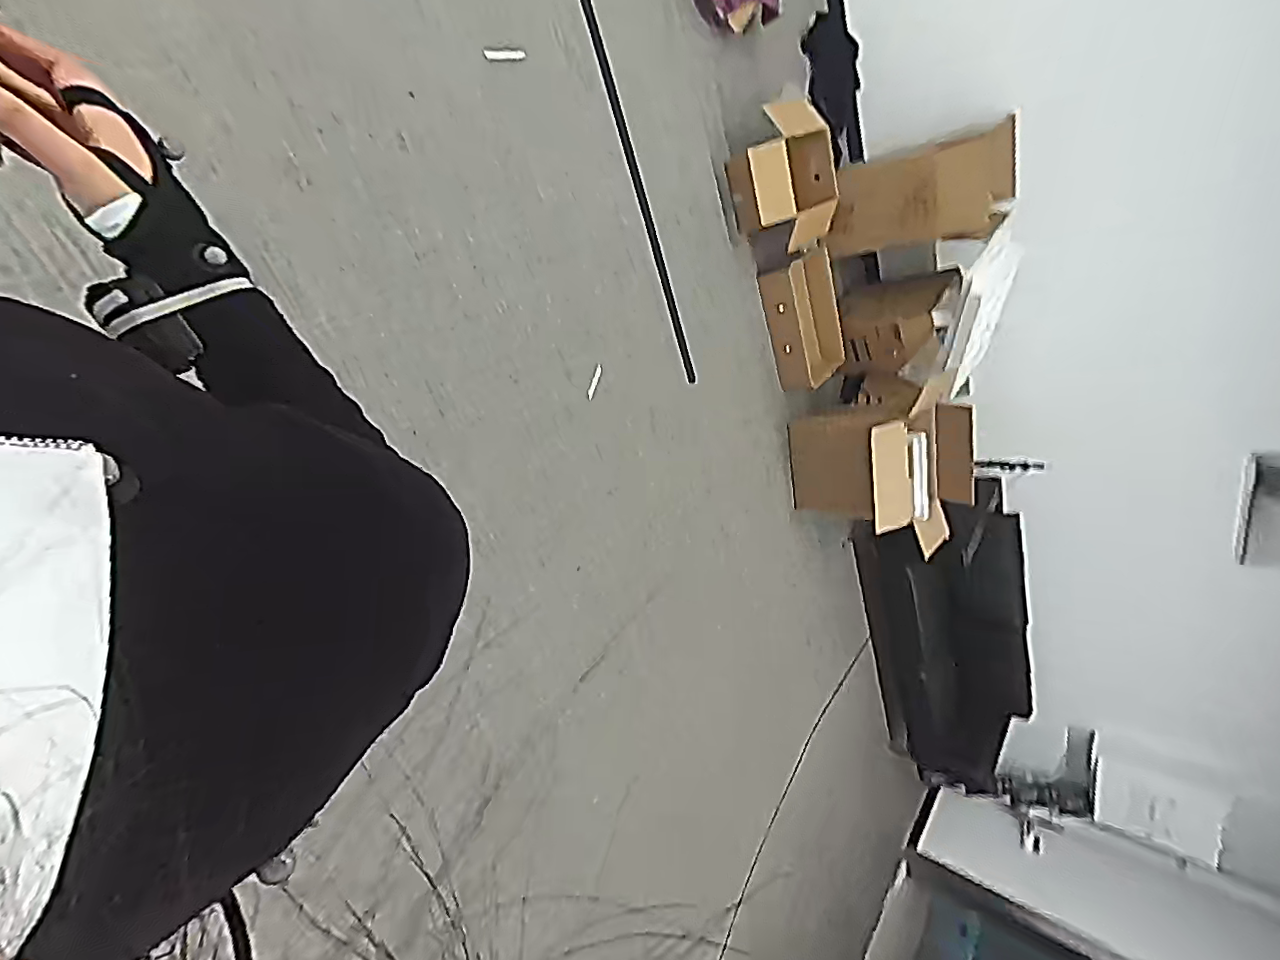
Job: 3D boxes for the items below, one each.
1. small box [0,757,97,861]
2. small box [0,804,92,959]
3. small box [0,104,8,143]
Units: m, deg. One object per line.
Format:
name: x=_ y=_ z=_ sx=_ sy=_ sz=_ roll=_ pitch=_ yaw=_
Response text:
small box: x=-1.001 y=0.560 z=0.839 sx=0.168 sy=0.176 sz=0.179 roll=-40 pitch=121 yaw=-36
small box: x=-0.889 y=0.580 z=0.721 sx=0.168 sy=0.176 sz=0.179 roll=-41 pitch=121 yaw=-36
small box: x=-0.484 y=-0.291 z=0.280 sx=0.179 sy=0.176 sz=0.168 roll=-16 pitch=112 yaw=-45
